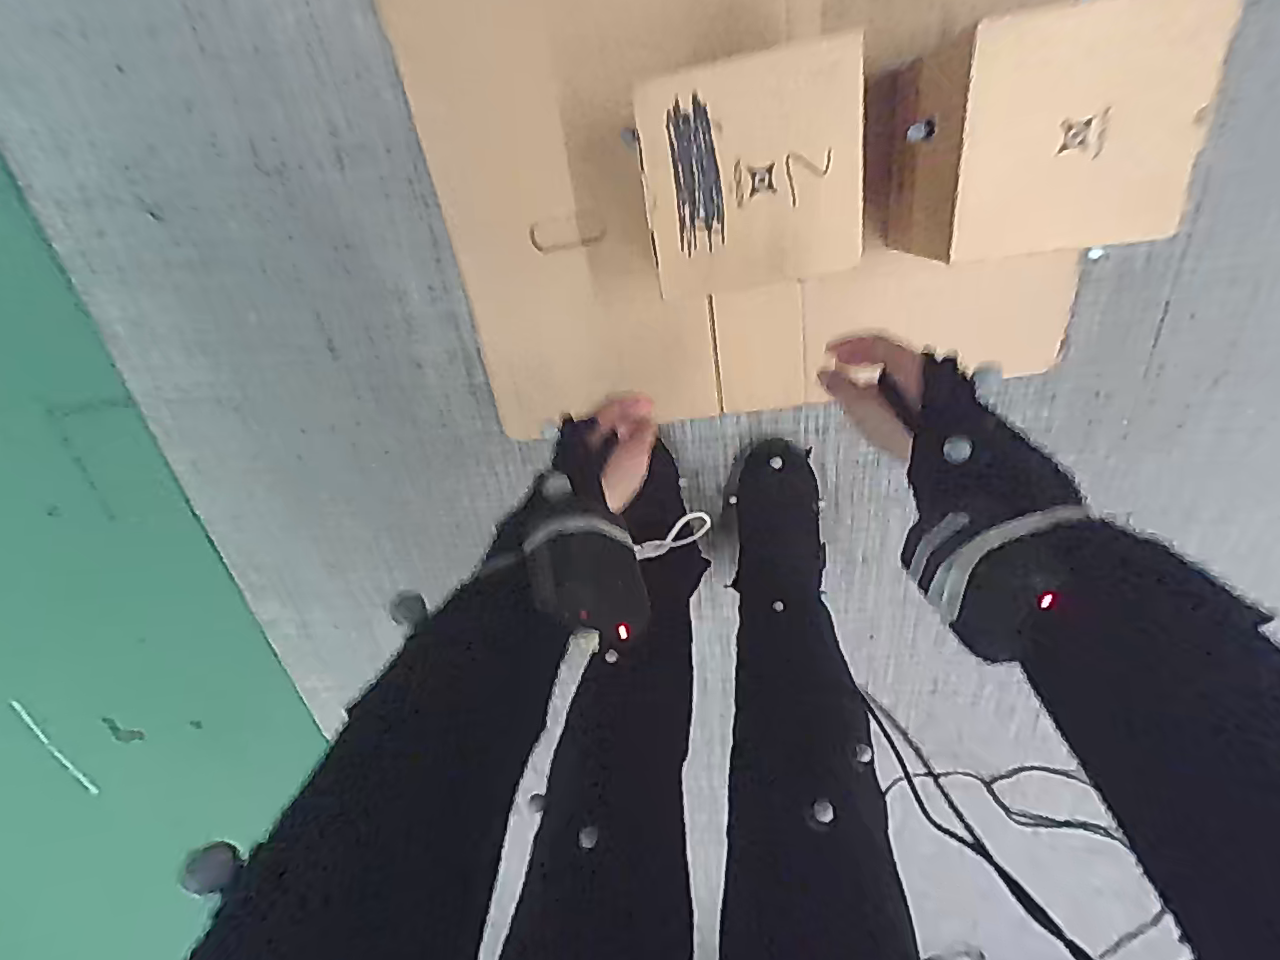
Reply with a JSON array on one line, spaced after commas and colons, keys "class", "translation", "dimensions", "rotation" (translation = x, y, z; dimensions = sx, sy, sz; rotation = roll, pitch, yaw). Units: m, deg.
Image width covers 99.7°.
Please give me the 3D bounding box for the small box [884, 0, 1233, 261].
[{"class": "small box", "translation": [0.332, -0.296, 0.479], "dimensions": [0.179, 0.176, 0.168], "rotation": [-5, 116, 7]}]
